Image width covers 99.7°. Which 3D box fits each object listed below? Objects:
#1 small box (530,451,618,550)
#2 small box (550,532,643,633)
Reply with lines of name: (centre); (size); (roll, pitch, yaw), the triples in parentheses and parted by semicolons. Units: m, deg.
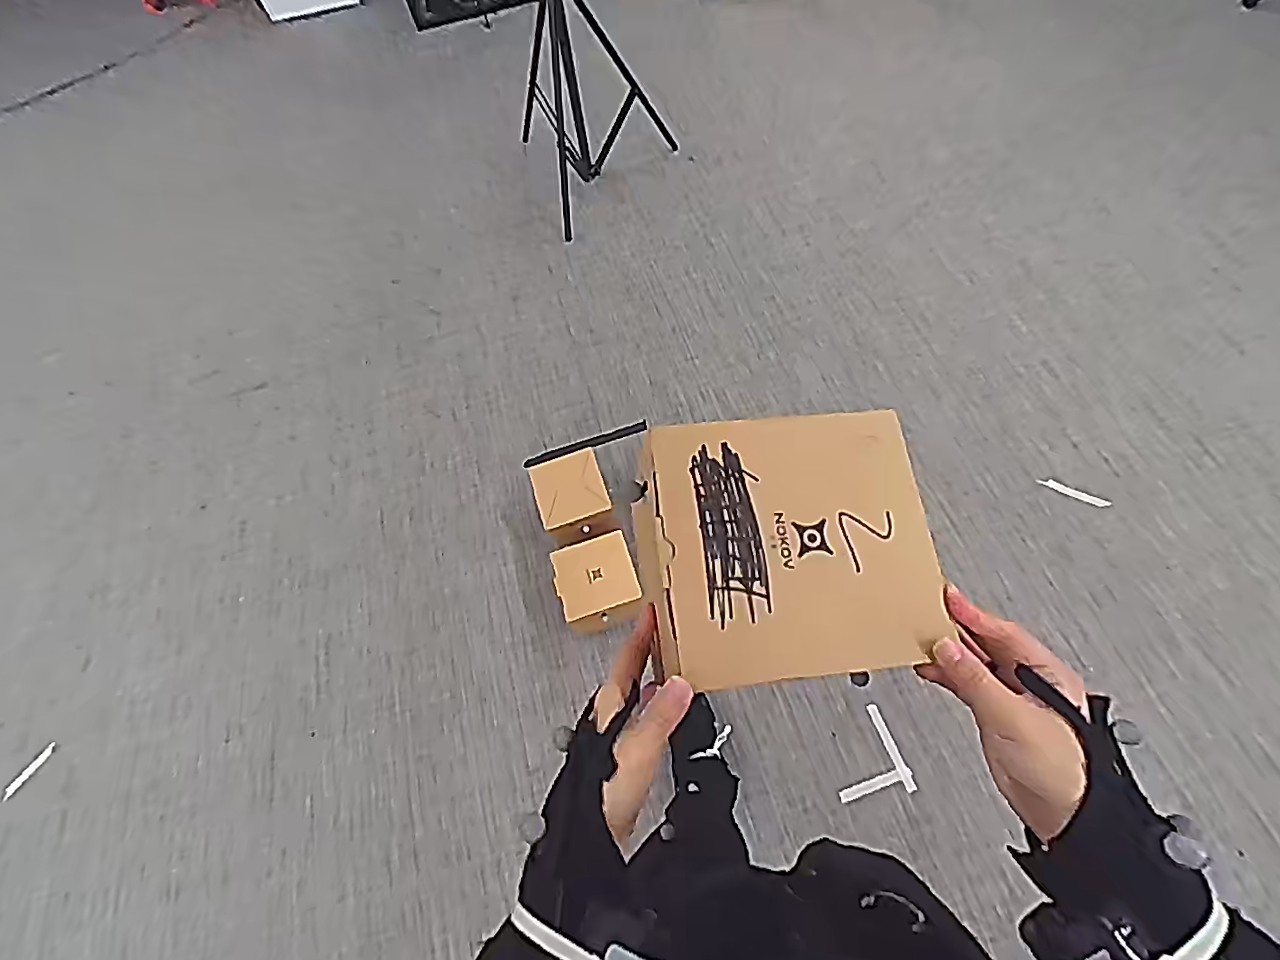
small box: (-0.166, 0.053, 1.363); (0.168, 0.176, 0.179); (-19, 65, -3)
small box: (-0.096, 0.245, 1.273); (0.179, 0.176, 0.168); (-18, 65, -3)
